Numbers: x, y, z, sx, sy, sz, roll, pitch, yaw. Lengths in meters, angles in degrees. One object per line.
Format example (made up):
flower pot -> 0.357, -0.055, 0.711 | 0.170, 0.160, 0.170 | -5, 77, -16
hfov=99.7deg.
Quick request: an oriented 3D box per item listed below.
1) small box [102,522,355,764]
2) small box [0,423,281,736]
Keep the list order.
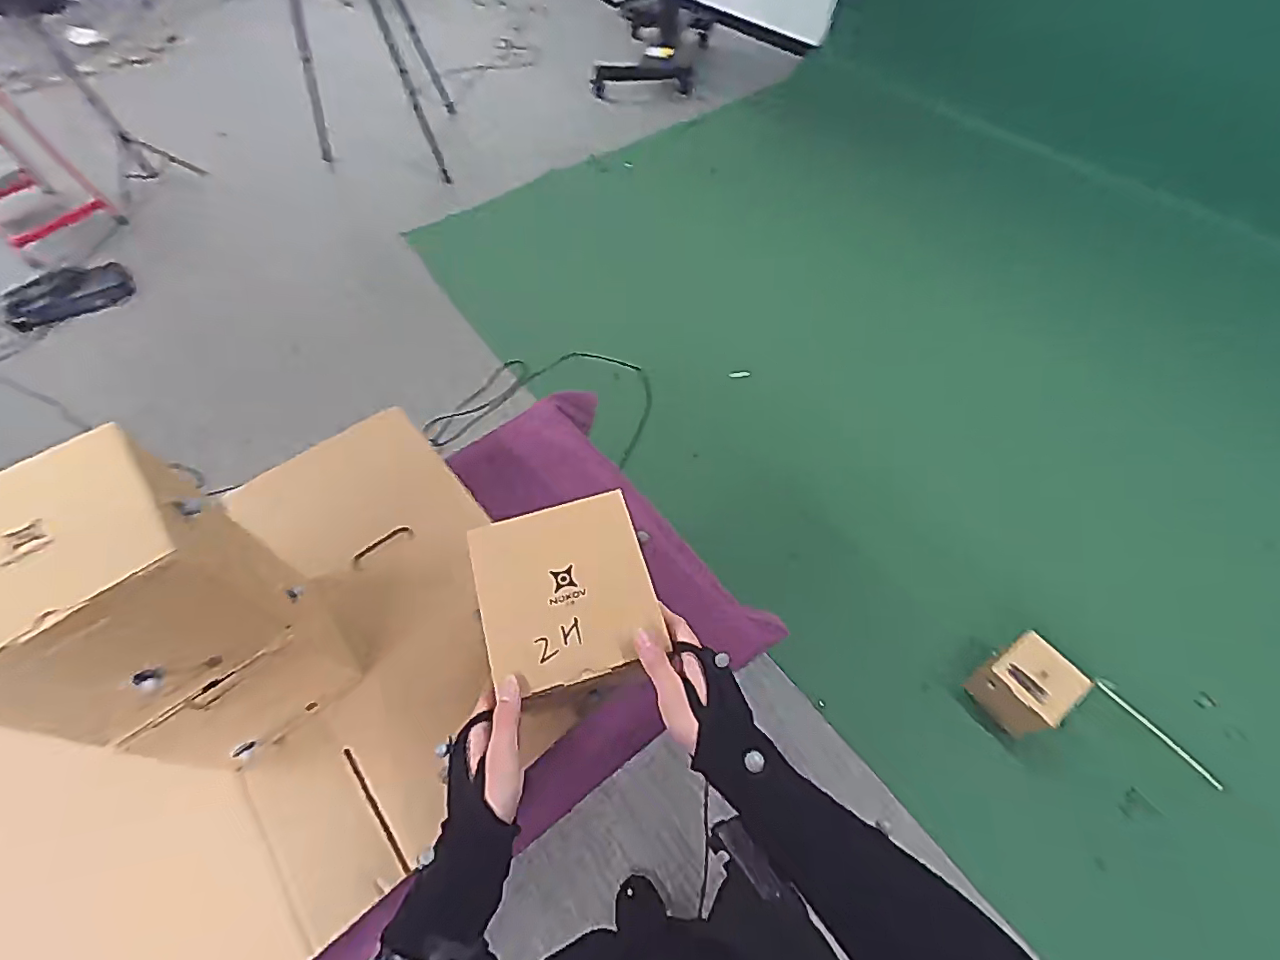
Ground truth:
small box -> -0.457, 0.187, 0.602 | 0.168, 0.176, 0.179 | -36, 62, -23
small box -> -0.463, 0.091, 0.471 | 0.168, 0.176, 0.179 | -37, 64, -23
